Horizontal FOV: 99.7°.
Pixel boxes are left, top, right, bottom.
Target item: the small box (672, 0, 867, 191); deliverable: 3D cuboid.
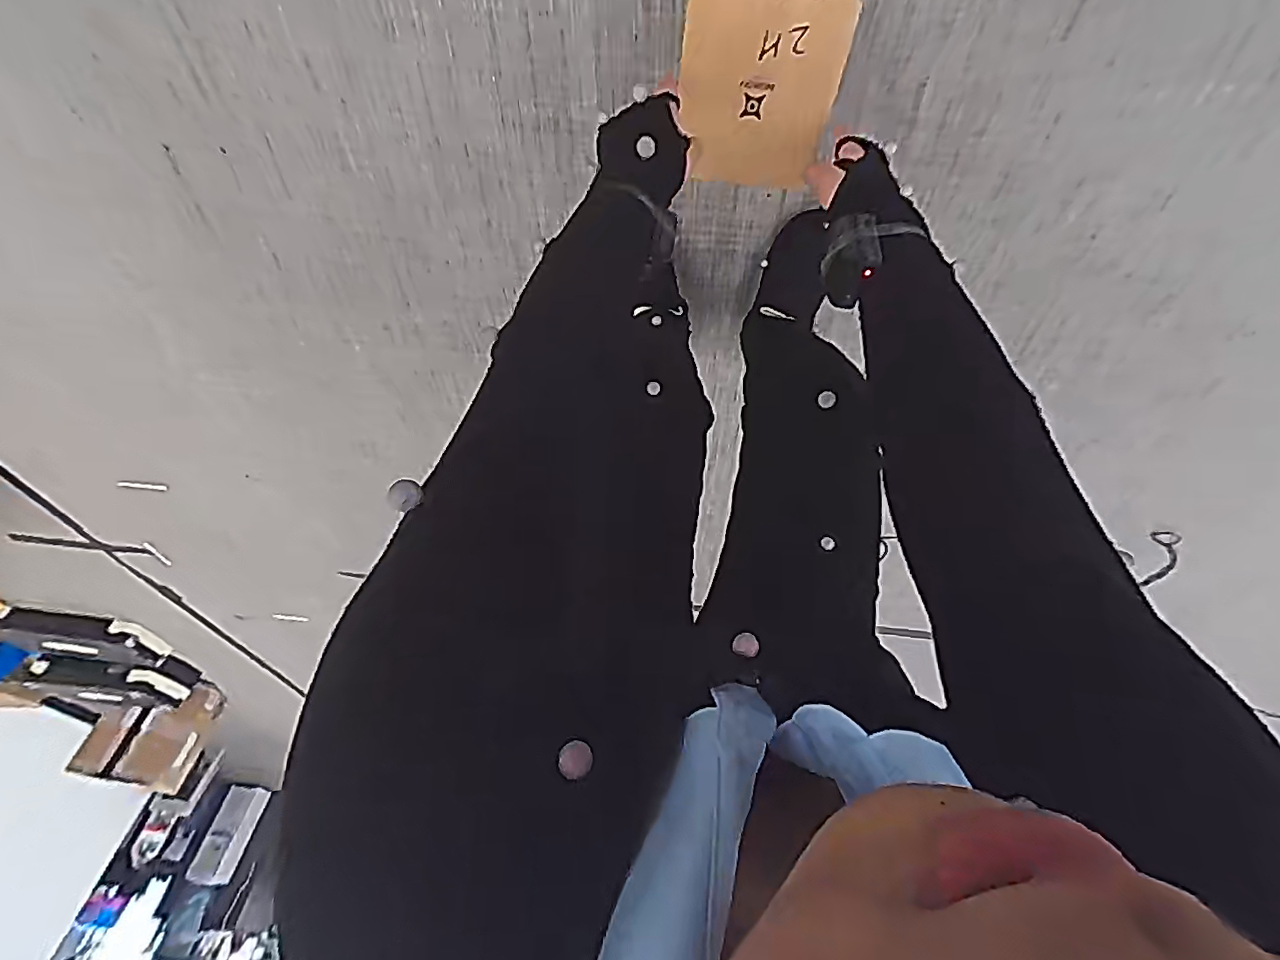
[{"bbox_3d":[0.133,-0.461,0.614,0.168,0.176,0.179,7,139,0],"label":"small box"}]
